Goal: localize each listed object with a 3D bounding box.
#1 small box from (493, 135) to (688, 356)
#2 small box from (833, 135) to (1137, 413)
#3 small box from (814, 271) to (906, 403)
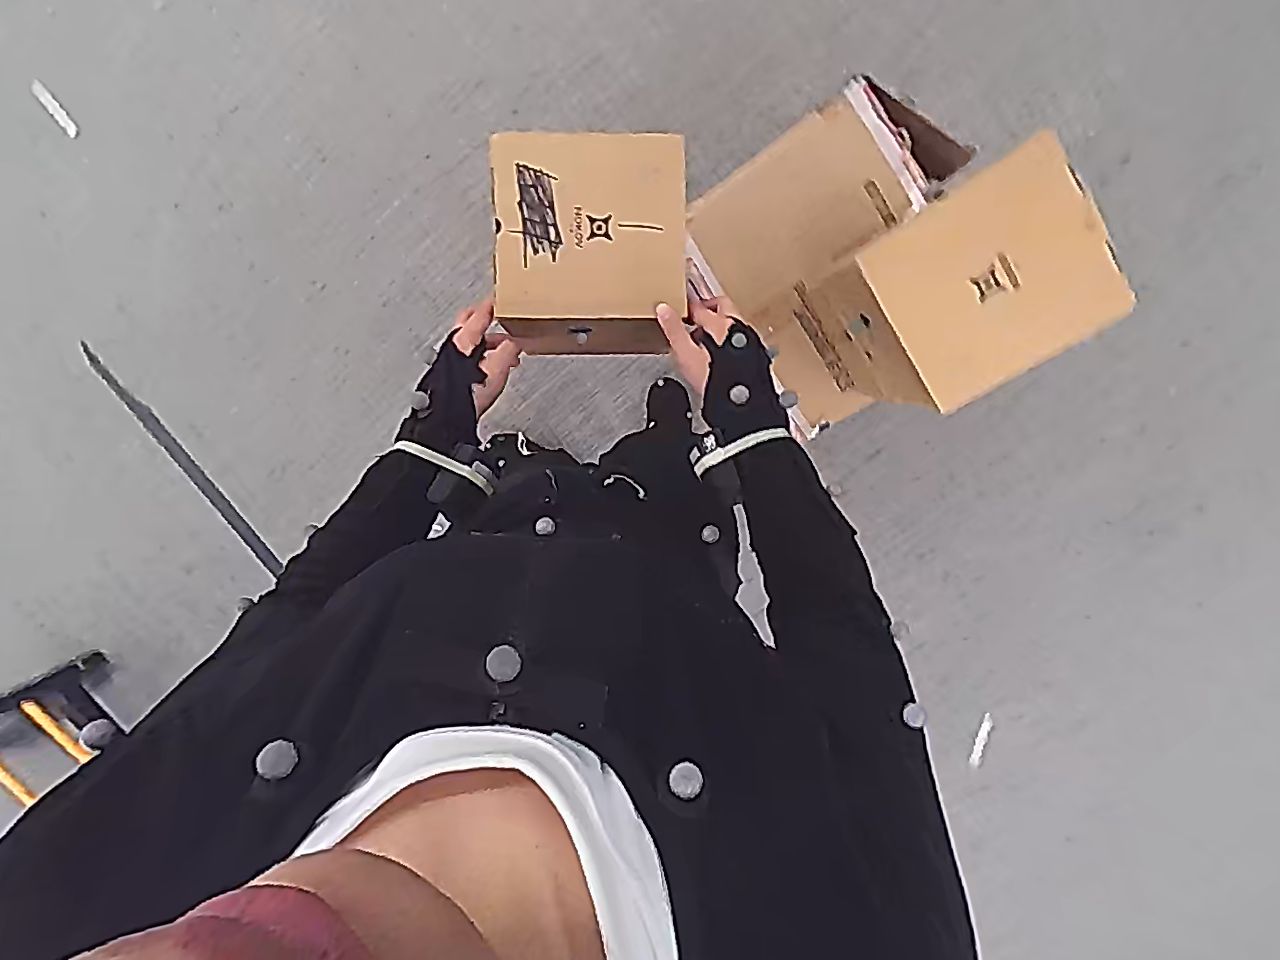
[{"bbox_3d":[-0.046,-0.227,0.565,0.179,0.176,0.168,-1,92,-3],"label":"small box"},{"bbox_3d":[0.314,-0.186,0.540,0.179,0.176,0.168,-32,98,13],"label":"small box"},{"bbox_3d":[0.345,-0.219,0.696,0.168,0.176,0.179,-29,99,13],"label":"small box"}]
